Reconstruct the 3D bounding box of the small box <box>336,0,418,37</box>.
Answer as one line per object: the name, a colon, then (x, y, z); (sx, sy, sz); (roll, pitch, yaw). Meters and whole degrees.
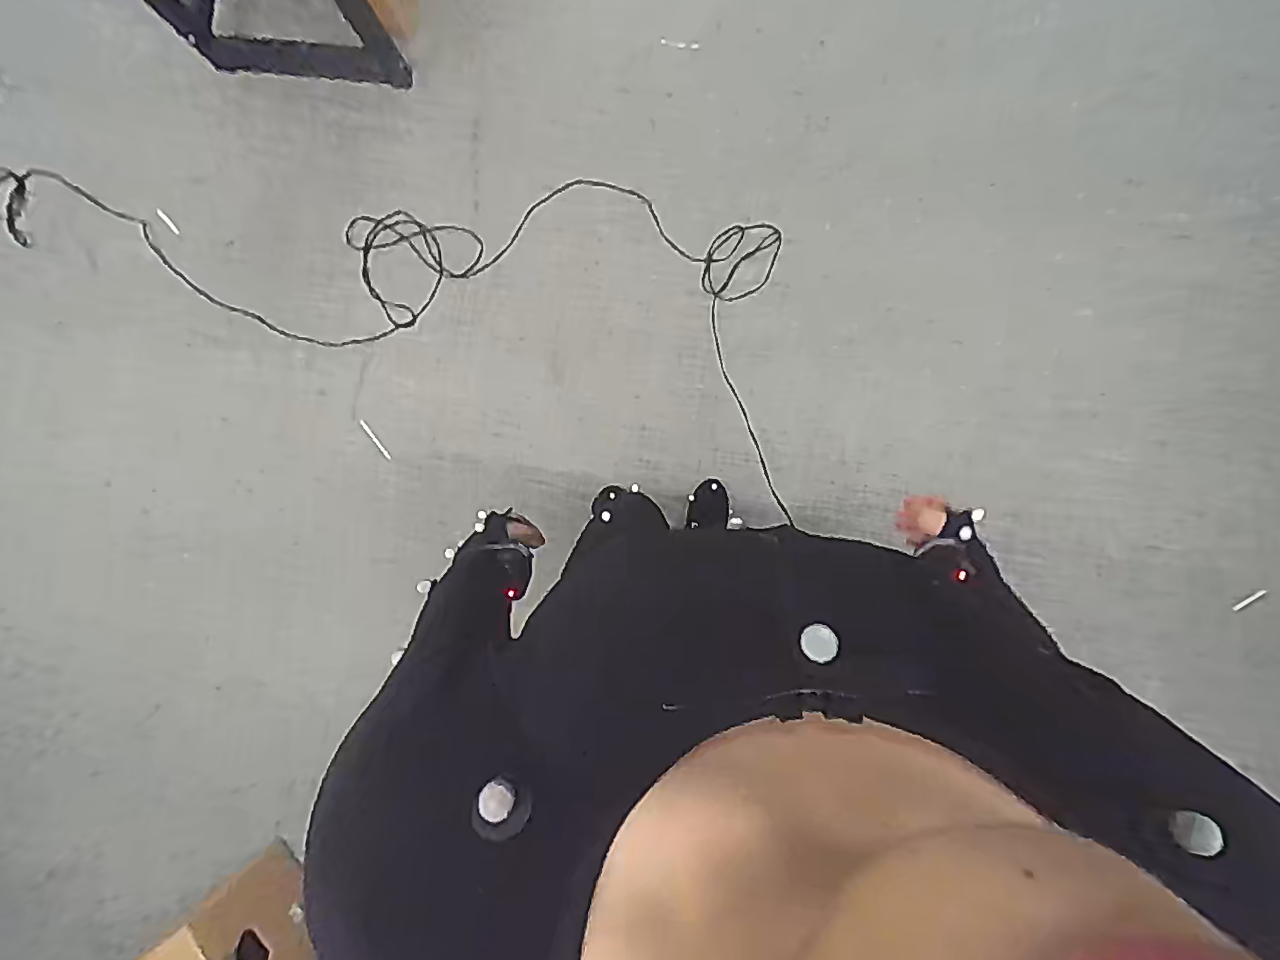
small box: (-0.716, -1.345, 1.454); (0.179, 0.176, 0.168); (12, 91, 3)
